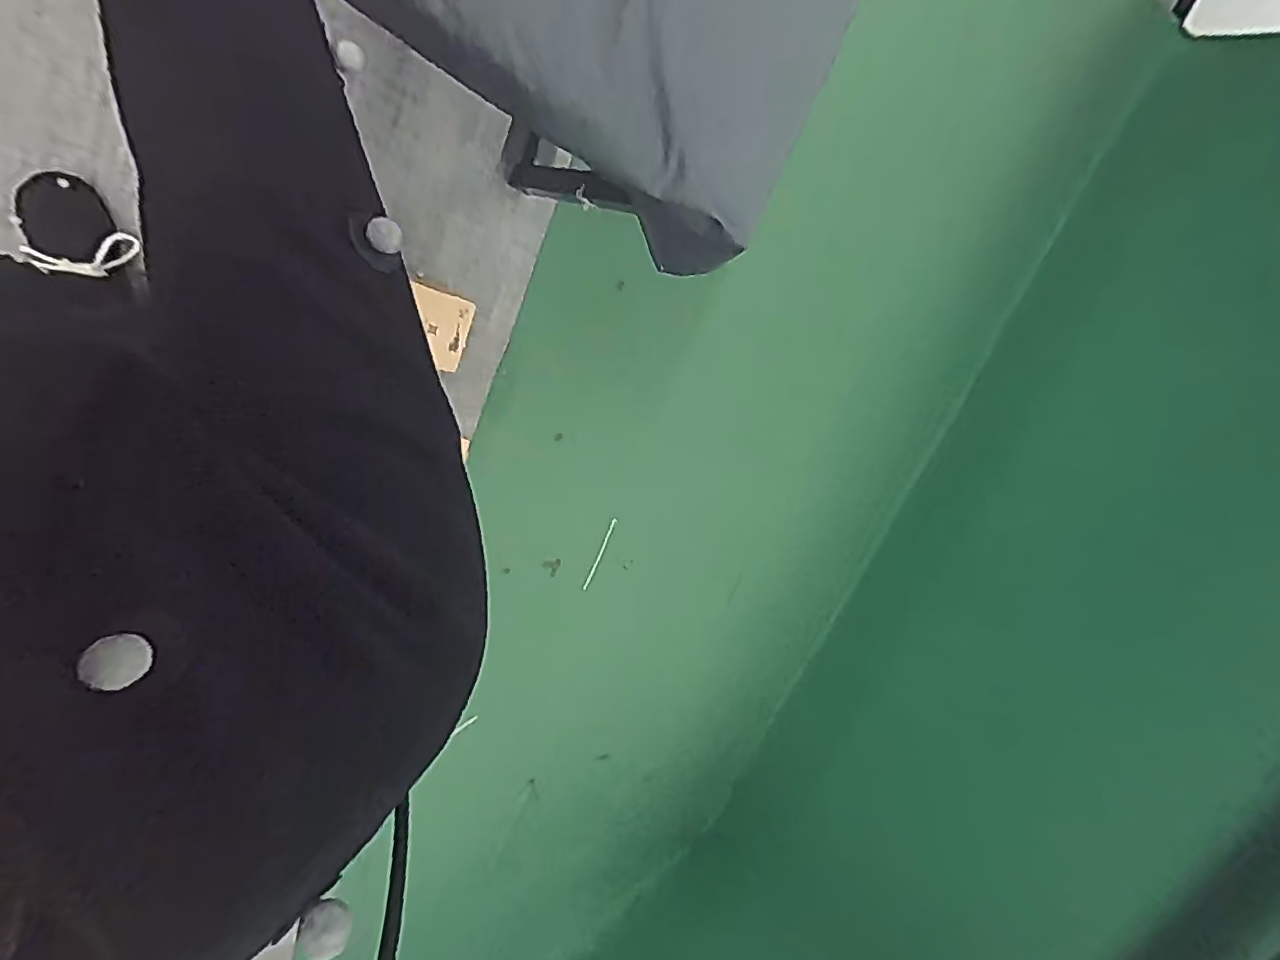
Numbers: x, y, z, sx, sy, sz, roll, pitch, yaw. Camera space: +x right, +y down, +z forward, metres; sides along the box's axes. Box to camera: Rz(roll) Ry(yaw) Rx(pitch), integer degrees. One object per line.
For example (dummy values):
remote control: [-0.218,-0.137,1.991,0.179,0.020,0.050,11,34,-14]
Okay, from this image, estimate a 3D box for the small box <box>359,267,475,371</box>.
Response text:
small box: [-0.503,-0.362,1.207,0.179,0.176,0.168,8,109,-45]
